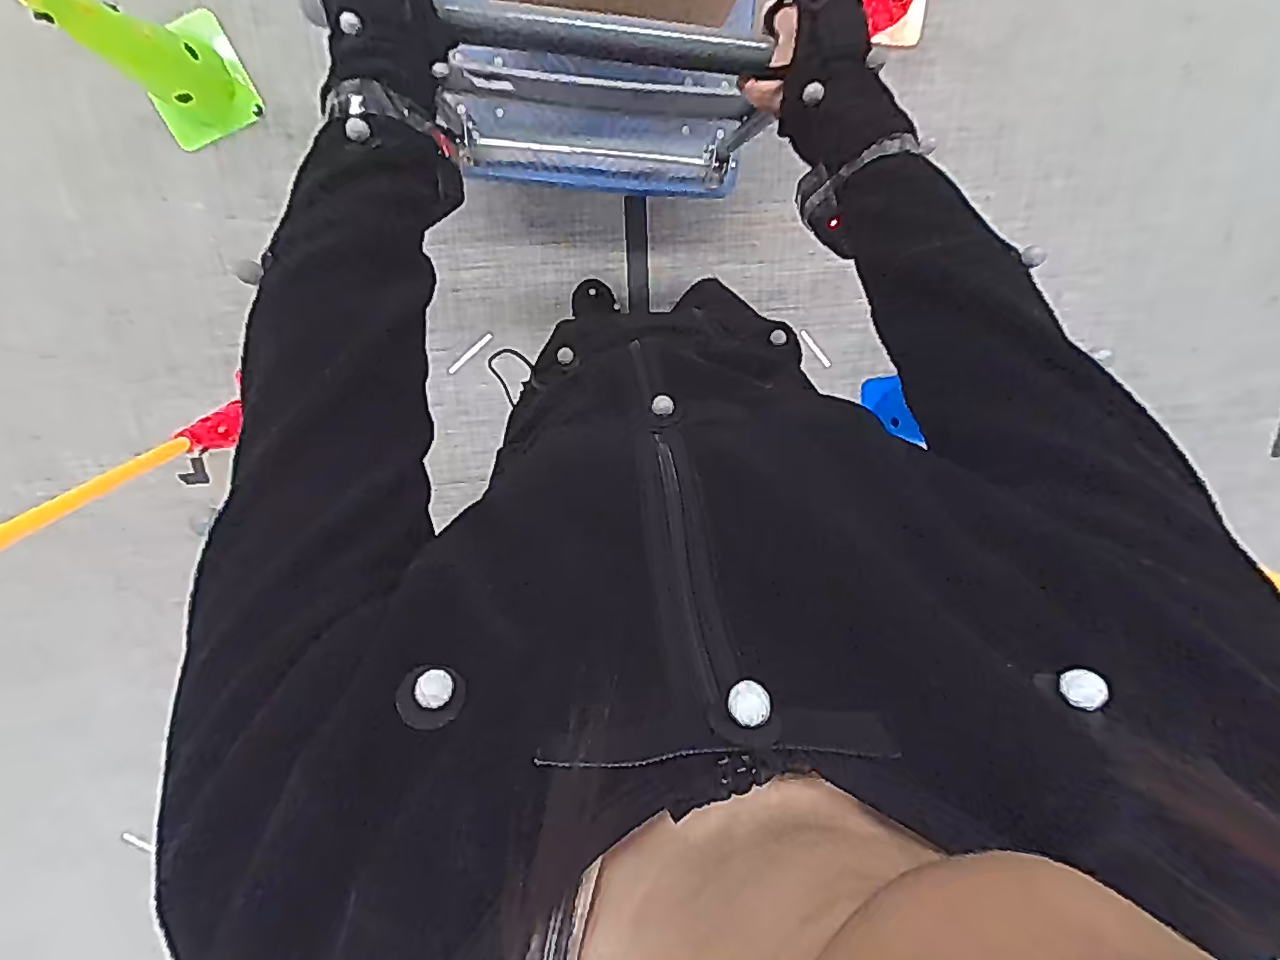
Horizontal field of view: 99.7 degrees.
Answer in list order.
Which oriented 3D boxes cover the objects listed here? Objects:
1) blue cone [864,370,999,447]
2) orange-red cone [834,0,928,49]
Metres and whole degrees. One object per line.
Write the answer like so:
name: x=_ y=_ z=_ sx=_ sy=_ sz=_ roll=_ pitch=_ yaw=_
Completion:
blue cone: x=0.704 y=-0.139 z=1.284 sx=0.193 sy=0.380 sz=0.192 roll=-8 pitch=107 yaw=-3
orange-red cone: x=0.534 y=-0.980 z=0.978 sx=0.199 sy=0.360 sz=0.198 roll=2 pitch=109 yaw=-7
